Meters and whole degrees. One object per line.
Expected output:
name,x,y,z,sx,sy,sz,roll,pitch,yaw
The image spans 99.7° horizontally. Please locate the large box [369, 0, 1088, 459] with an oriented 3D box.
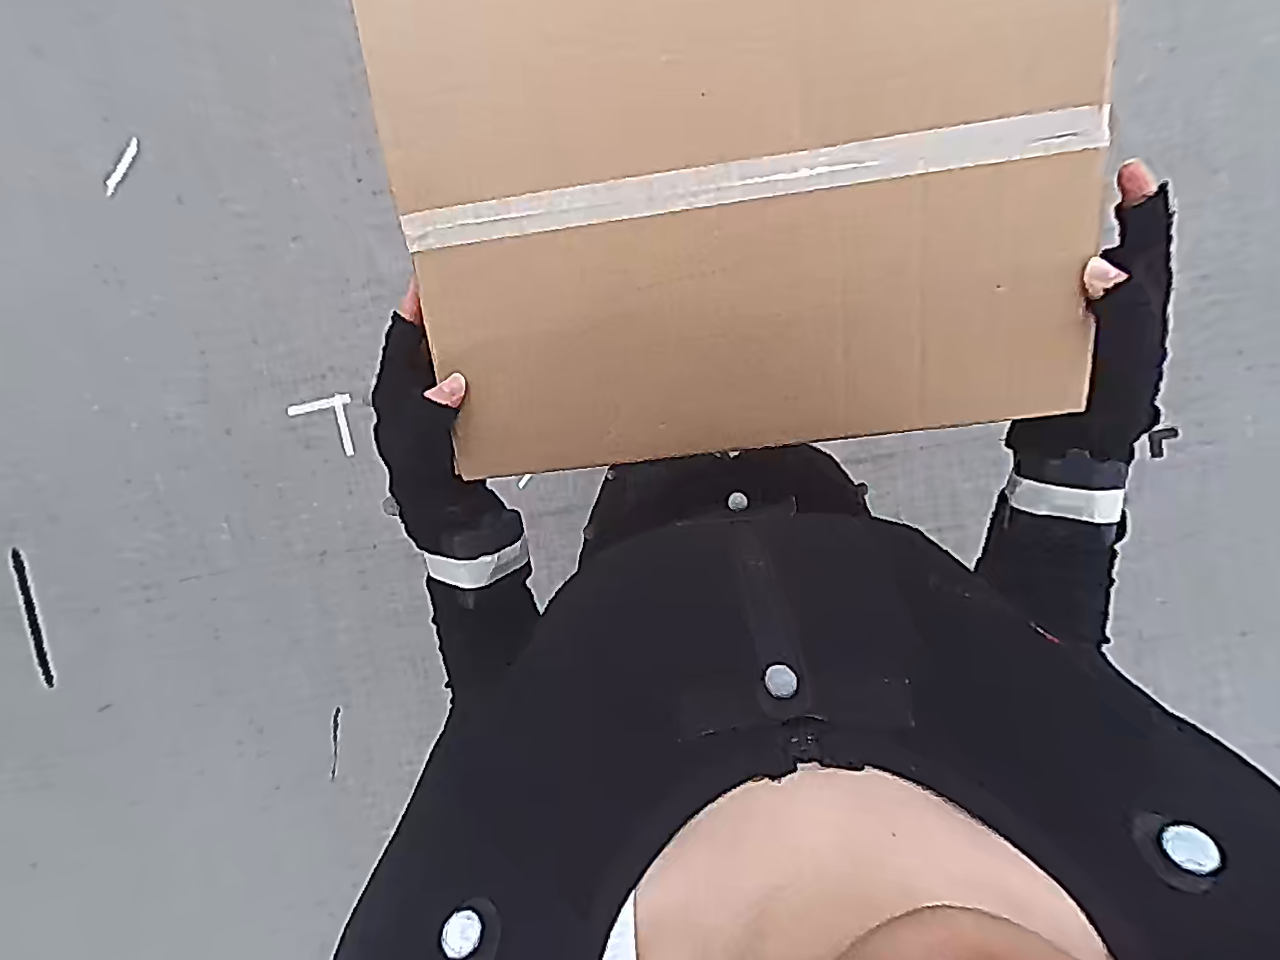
large box,0.060,-0.222,0.470,0.408,0.320,0.320,-7,105,4
